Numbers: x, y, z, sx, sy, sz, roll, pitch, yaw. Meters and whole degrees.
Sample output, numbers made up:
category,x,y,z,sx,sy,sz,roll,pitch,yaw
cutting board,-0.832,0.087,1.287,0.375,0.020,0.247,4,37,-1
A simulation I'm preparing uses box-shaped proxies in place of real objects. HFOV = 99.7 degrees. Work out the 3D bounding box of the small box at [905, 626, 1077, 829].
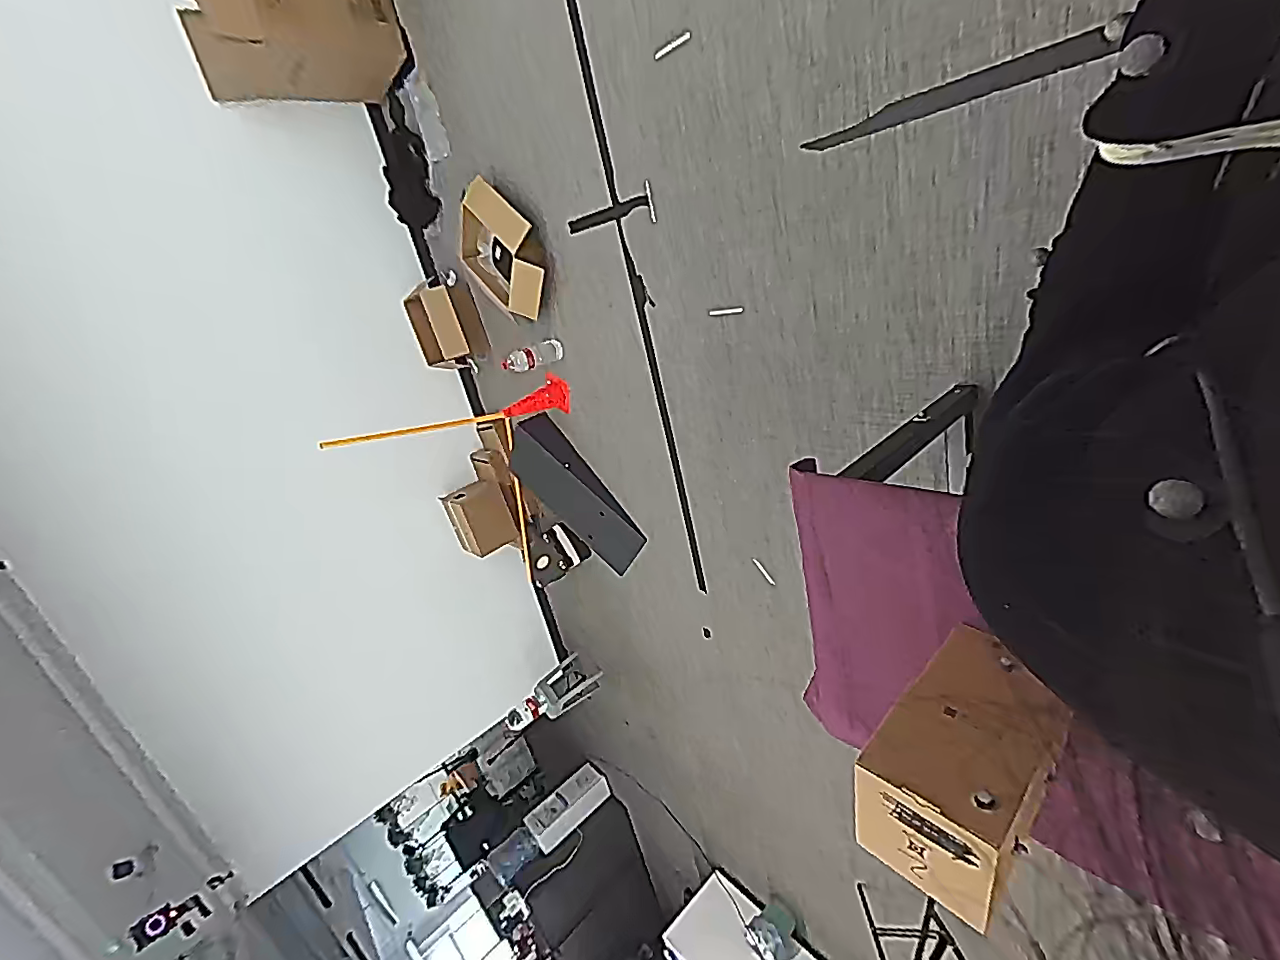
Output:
category,x,y,z,sx,sy,sz,roll,pitch,yaw
small box,0.520,0.357,0.808,0.168,0.176,0.179,19,128,45
